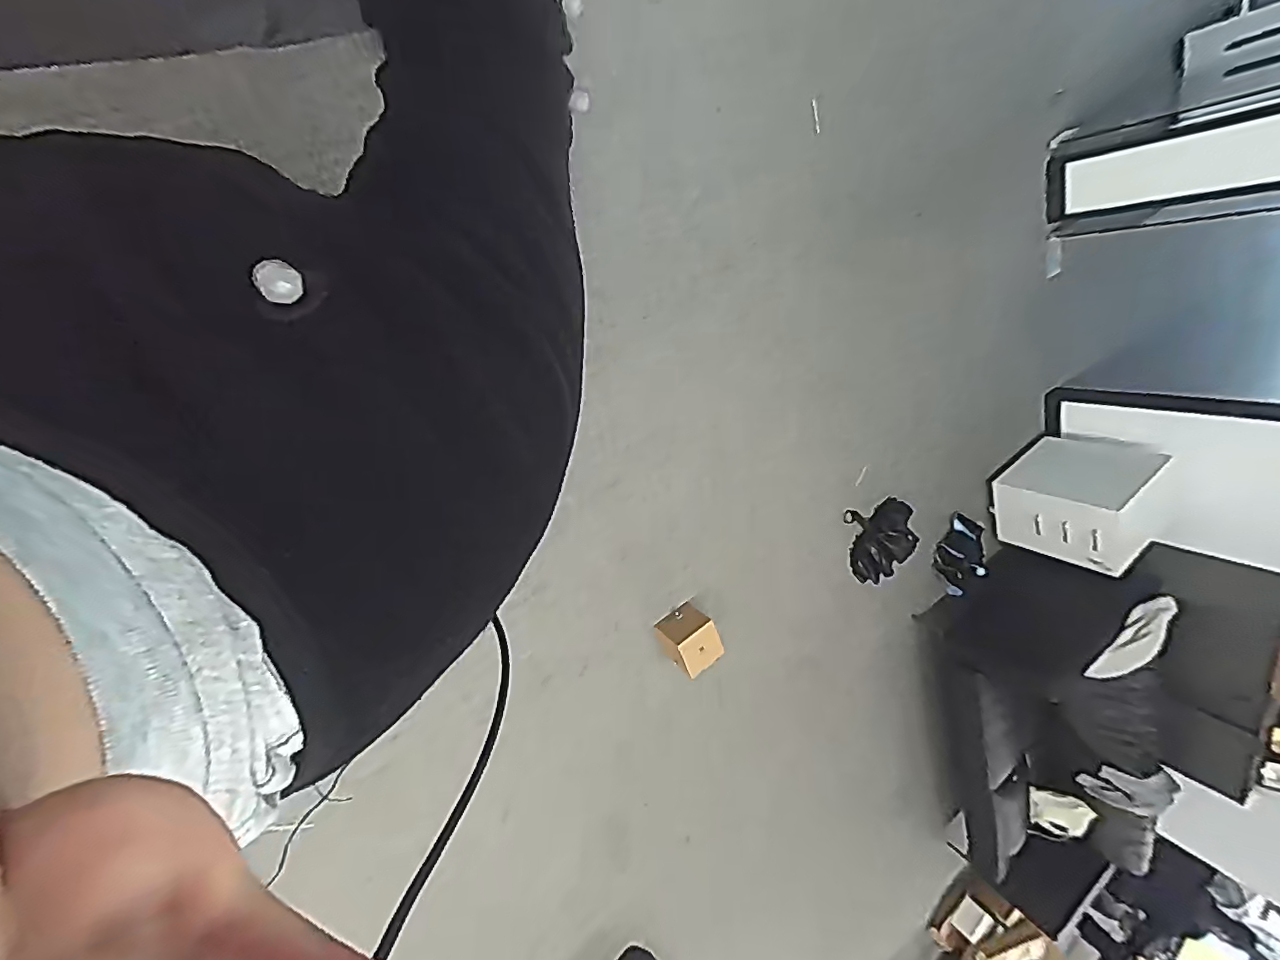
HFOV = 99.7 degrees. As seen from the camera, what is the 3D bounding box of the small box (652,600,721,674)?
[{"bbox_3d":[0.174,0.584,2.037,0.168,0.176,0.179,-33,117,-20],"label":"small box"}]
